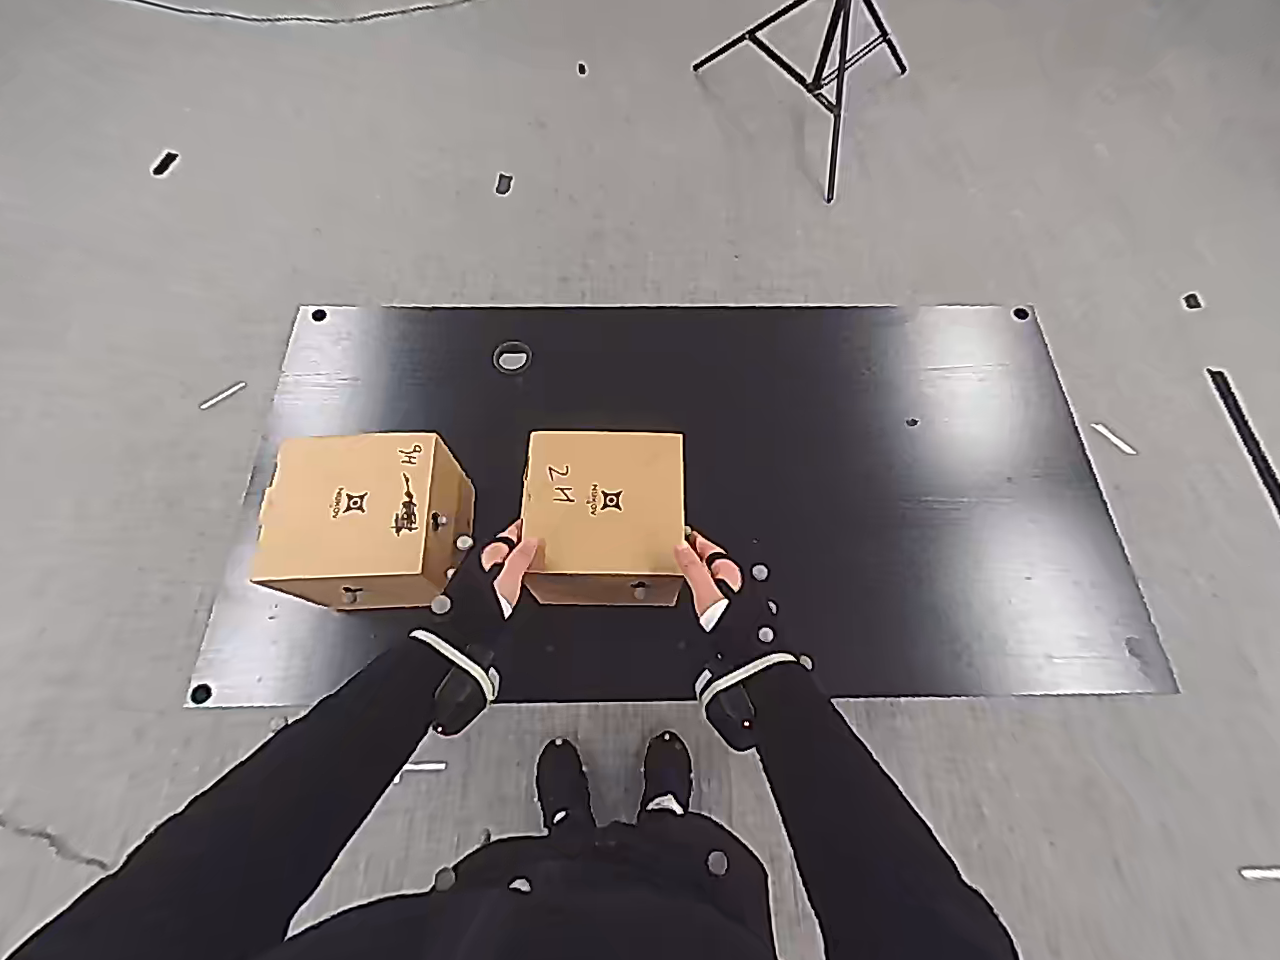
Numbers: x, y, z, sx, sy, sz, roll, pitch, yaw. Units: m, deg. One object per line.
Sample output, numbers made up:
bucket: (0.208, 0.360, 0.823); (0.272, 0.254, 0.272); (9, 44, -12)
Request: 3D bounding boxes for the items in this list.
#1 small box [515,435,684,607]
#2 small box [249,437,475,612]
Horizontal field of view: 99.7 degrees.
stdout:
small box: (-0.042, 0.057, 0.659); (0.179, 0.176, 0.168); (1, 66, 0)
small box: (-0.315, 0.061, 0.654); (0.179, 0.176, 0.168); (-3, 67, -2)
